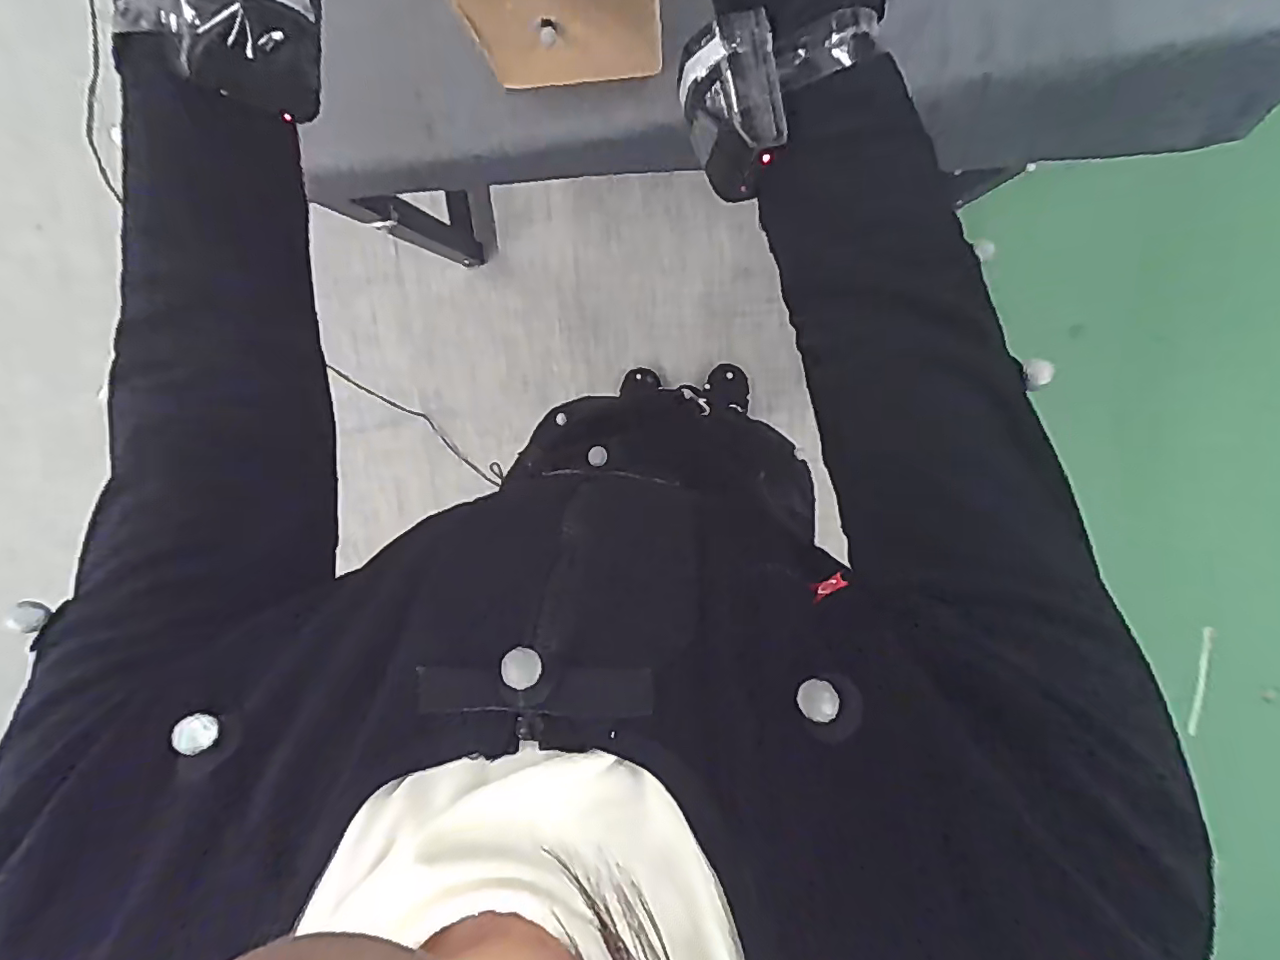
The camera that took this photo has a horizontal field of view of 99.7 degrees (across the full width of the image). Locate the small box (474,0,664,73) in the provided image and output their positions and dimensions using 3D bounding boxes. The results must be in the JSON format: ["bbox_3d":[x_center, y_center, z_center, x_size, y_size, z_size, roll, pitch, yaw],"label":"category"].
[{"bbox_3d":[-0.072,-0.516,0.504,0.179,0.176,0.168,-2,101,5],"label":"small box"}]
